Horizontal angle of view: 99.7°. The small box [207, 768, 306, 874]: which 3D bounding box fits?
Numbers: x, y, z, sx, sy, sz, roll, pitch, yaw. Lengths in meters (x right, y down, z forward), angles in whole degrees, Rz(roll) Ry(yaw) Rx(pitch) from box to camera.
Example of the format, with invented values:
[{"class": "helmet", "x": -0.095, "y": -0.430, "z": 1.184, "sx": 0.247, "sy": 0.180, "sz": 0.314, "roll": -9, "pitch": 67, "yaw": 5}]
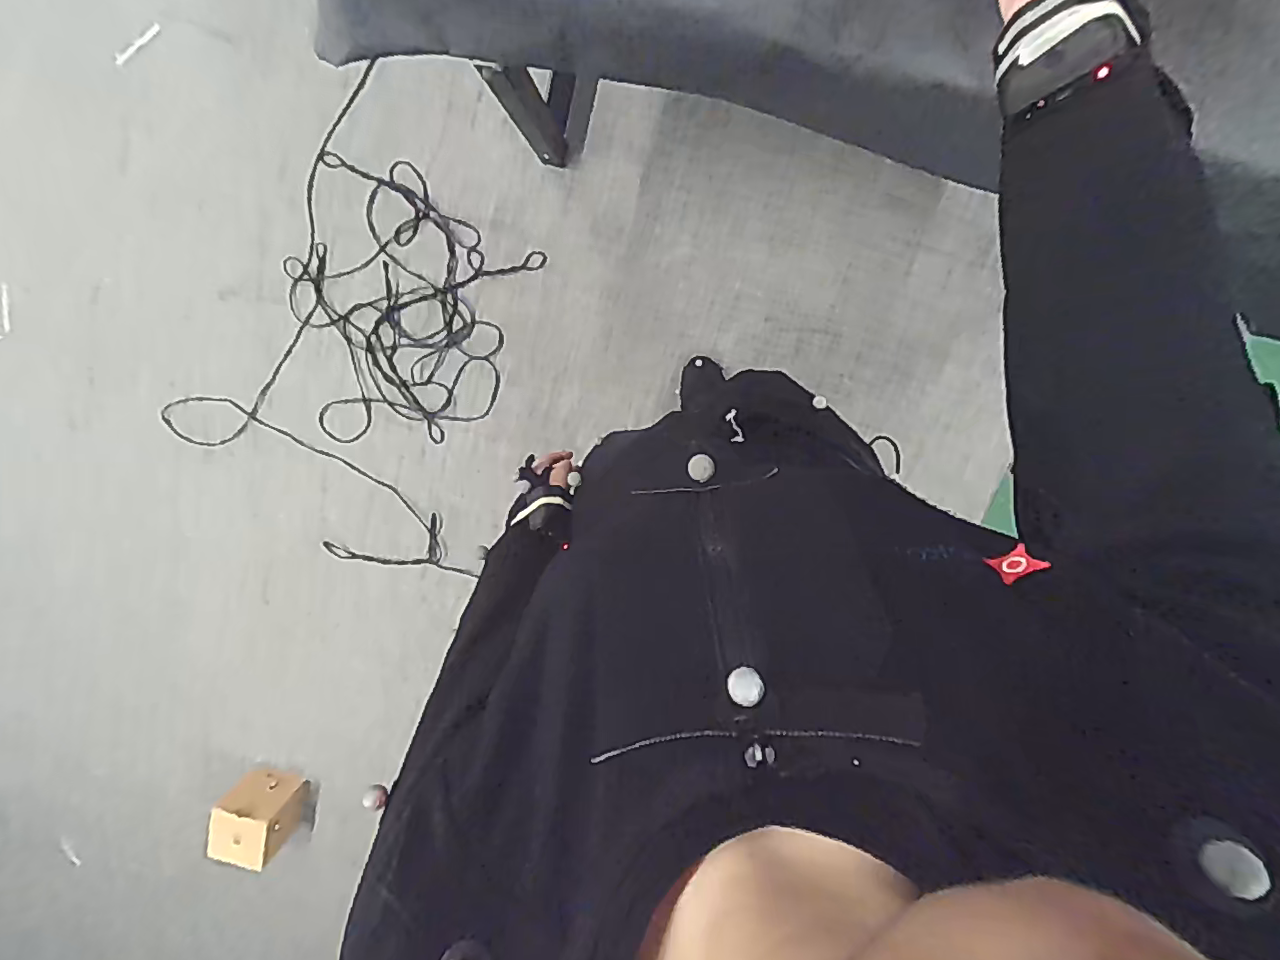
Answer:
[{"class": "small box", "x": -1.111, "y": 0.988, "z": 1.576, "sx": 0.168, "sy": 0.176, "sz": 0.179, "roll": 15, "pitch": 102, "yaw": 1}]
